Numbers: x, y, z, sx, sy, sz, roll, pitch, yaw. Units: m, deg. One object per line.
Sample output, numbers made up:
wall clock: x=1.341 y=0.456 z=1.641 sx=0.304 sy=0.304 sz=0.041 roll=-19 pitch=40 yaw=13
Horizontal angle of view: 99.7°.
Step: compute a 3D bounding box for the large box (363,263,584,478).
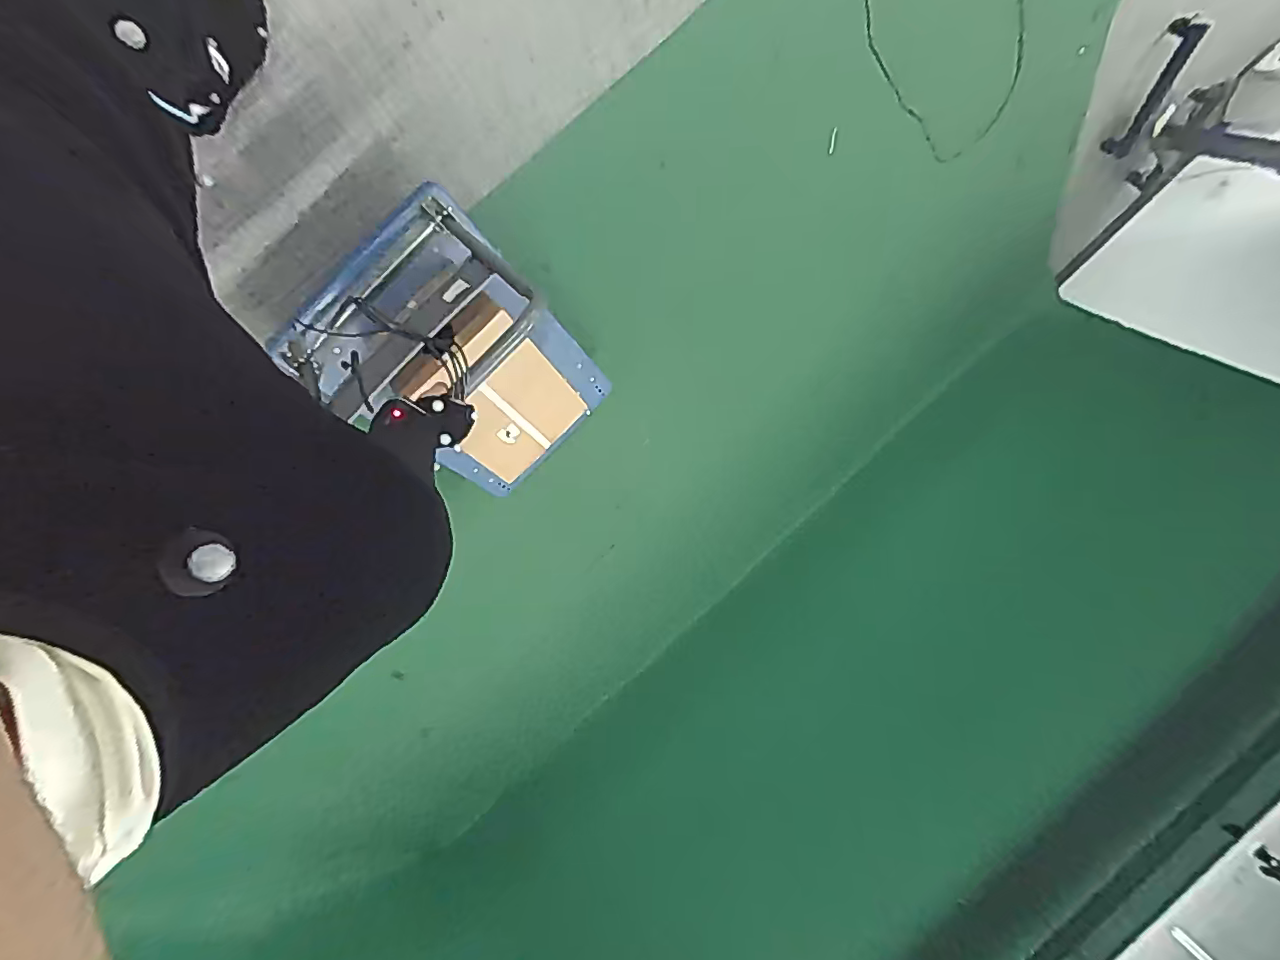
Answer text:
large box: x=-0.427 y=-0.278 z=1.426 sx=0.320 sy=0.320 sz=0.408 roll=-43 pitch=145 yaw=-1
